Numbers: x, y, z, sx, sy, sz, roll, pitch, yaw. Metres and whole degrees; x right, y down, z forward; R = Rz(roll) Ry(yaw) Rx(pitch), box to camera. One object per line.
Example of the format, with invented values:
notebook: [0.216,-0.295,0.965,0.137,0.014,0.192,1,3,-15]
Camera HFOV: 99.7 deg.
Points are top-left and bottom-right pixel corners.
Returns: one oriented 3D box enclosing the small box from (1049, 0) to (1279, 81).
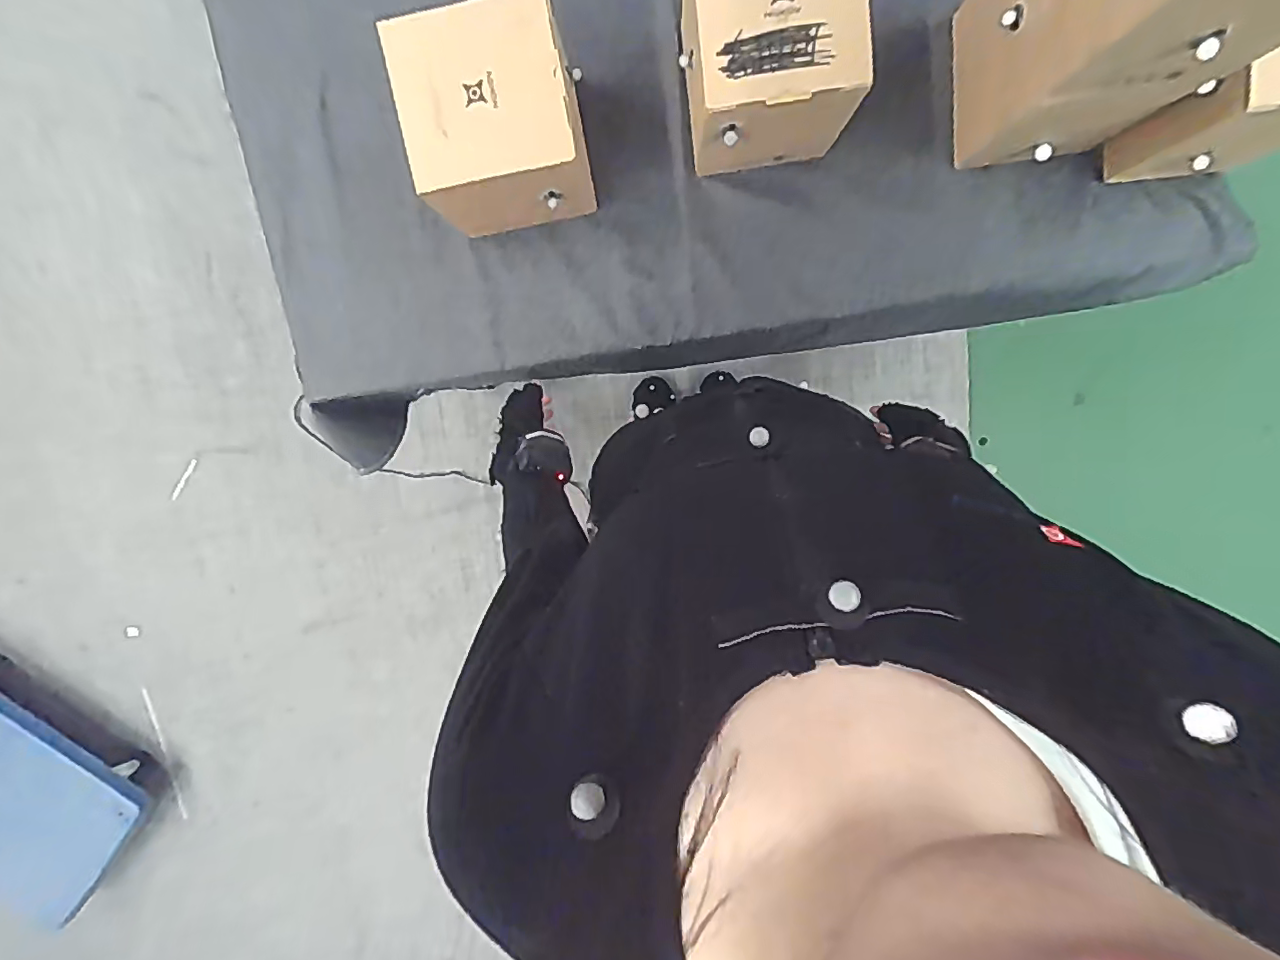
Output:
small box: [0.460,-0.448,0.423,0.168,0.176,0.179,-4,99,3]
